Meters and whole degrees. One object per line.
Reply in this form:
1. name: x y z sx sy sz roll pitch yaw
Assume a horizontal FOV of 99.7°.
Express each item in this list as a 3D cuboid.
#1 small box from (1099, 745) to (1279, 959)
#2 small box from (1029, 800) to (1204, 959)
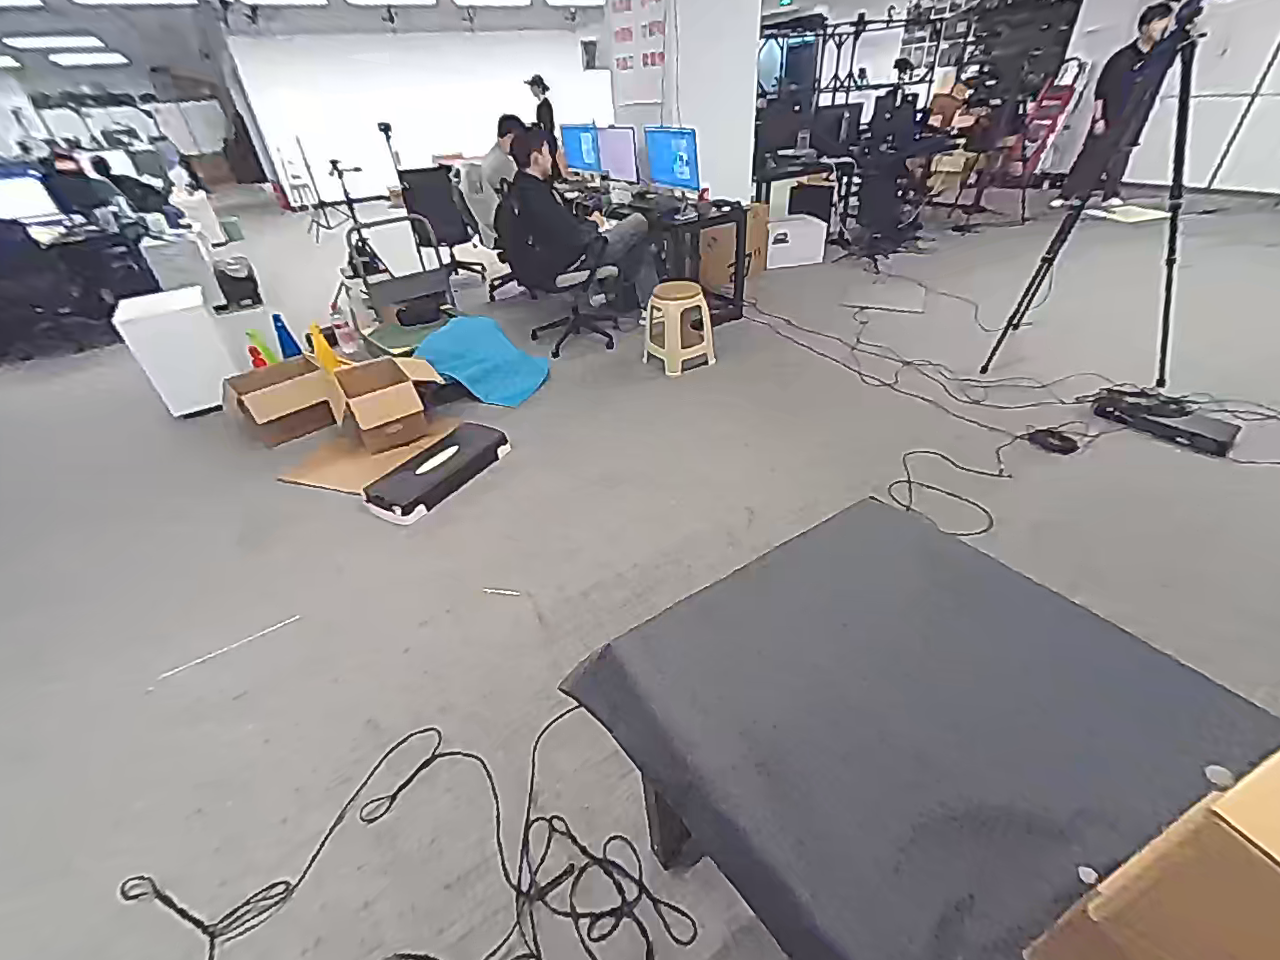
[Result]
1. small box: 0.435 0.275 0.316 0.168 0.176 0.179 -16 39 -18
2. small box: 0.461 0.399 0.420 0.168 0.176 0.179 -17 37 -19
